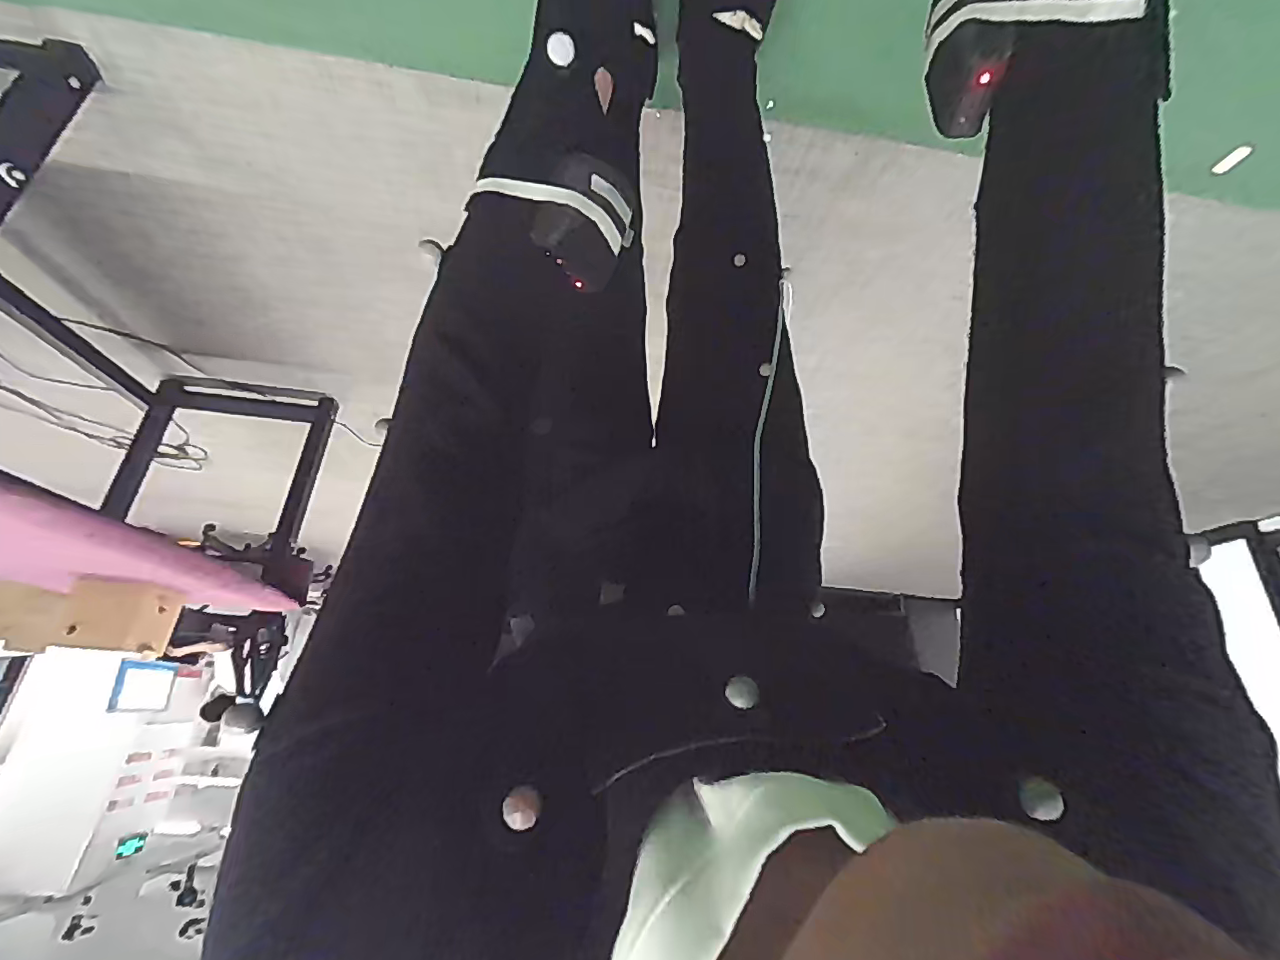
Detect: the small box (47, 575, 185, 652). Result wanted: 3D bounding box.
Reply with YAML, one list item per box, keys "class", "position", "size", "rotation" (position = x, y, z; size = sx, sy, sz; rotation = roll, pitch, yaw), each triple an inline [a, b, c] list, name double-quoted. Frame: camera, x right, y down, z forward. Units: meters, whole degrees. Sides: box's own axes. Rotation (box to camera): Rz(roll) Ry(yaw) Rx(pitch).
- class: "small box"
  position: [-1.375, 0.353, 1.434]
  size: [0.179, 0.176, 0.168]
  rotation: [7, 157, -6]
